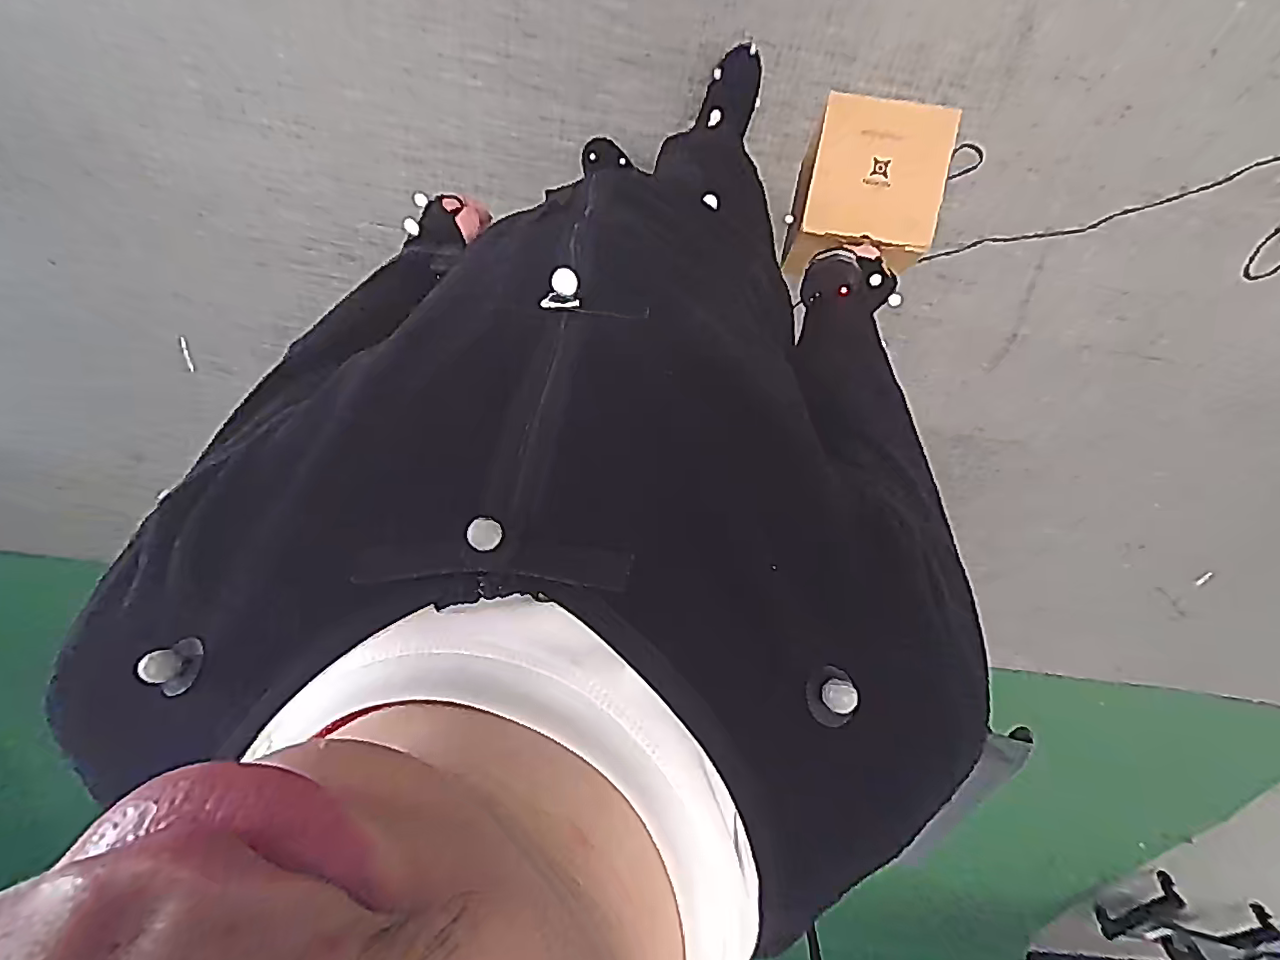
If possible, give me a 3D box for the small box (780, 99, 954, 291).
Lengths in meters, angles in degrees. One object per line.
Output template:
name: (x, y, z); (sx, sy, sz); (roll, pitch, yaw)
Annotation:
small box: (0.307, -0.390, 0.771); (0.168, 0.176, 0.179); (12, 91, 2)
